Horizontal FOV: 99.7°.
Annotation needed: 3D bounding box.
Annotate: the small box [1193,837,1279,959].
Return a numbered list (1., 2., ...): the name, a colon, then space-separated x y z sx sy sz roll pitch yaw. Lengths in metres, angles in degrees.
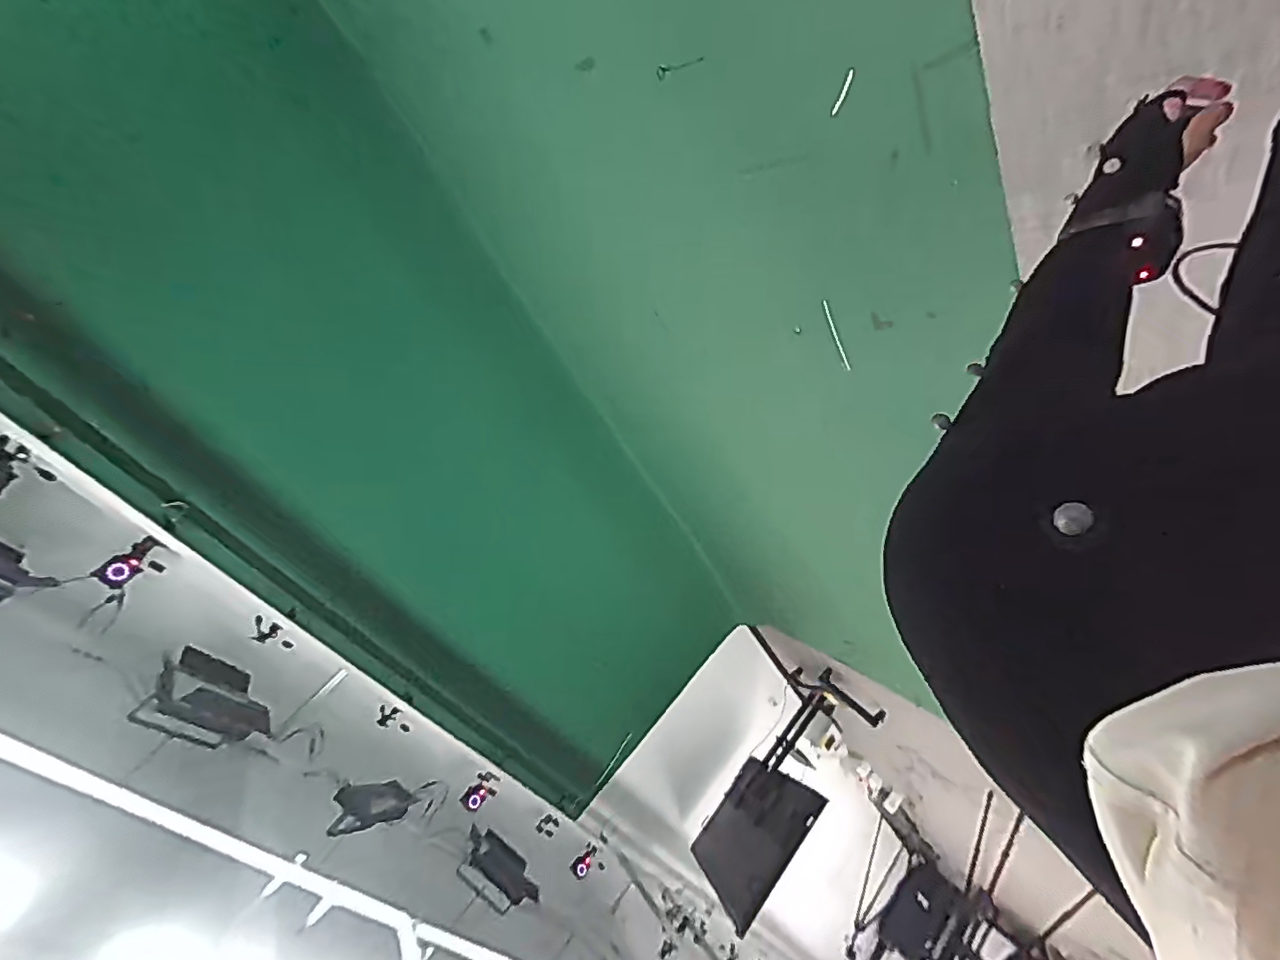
1. small box: 1.526 1.047 1.350 0.168 0.176 0.179 18 148 55
